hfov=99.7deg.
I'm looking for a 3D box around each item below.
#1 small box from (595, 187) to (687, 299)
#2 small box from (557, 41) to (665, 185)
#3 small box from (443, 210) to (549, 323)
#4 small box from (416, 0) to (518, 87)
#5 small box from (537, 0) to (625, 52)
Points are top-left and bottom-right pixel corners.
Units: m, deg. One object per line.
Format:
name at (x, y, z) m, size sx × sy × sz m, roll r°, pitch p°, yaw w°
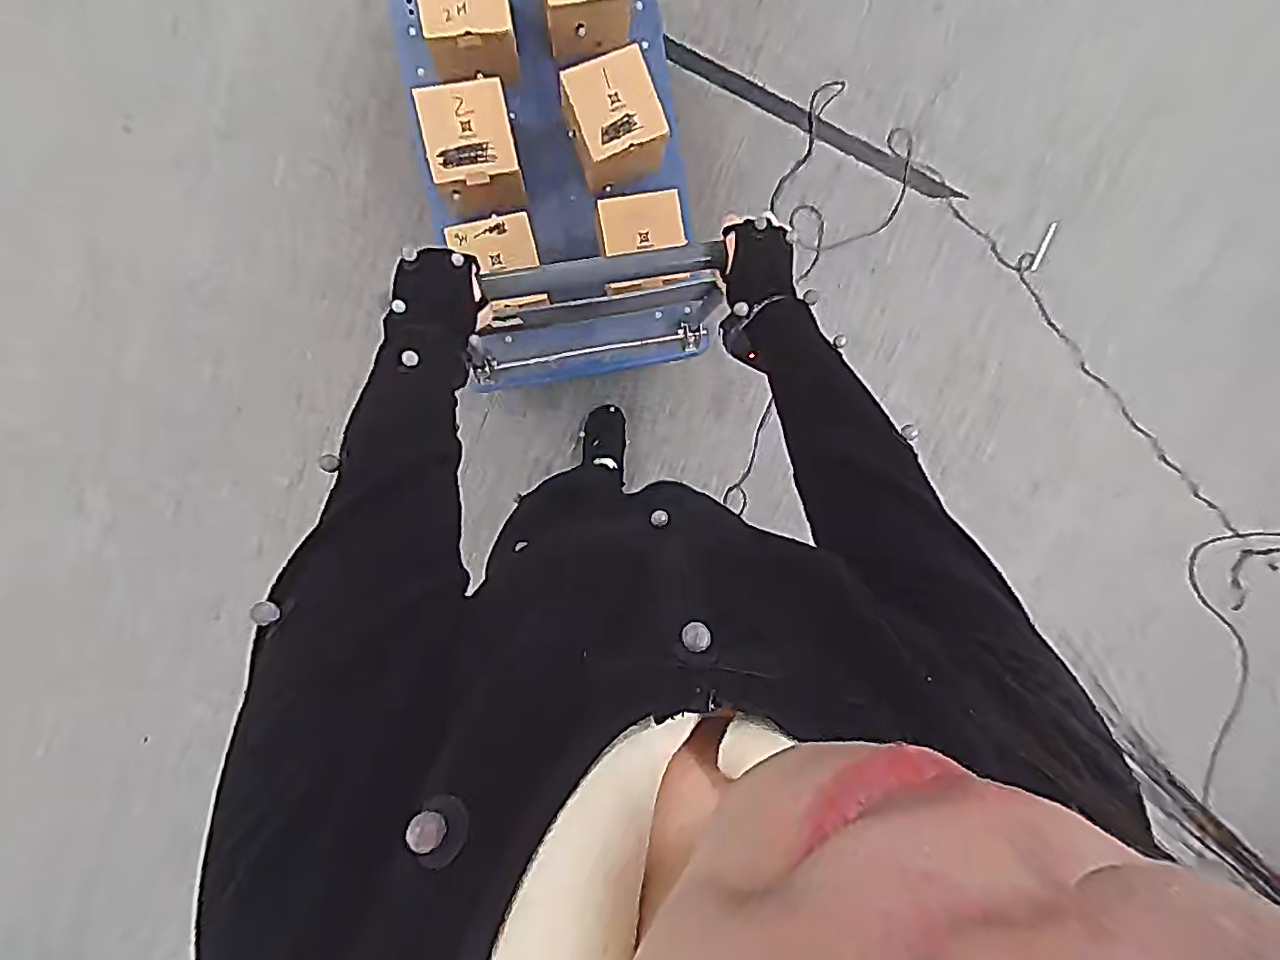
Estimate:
small box at (-0.003, -0.500, 1.167) m, size 0.168 × 0.176 × 0.179 m, roll -10°, pitch 97°, yaw -6°
small box at (-0.062, -0.749, 1.131) m, size 0.168 × 0.176 × 0.179 m, roll -23°, pitch 98°, yaw -3°
small box at (-0.293, -0.438, 1.142) m, size 0.168 × 0.176 × 0.179 m, roll -14°, pitch 98°, yaw -5°
small box at (-0.346, -0.931, 1.077) m, size 0.168 × 0.176 × 0.179 m, roll -9°, pitch 98°, yaw -5°
small box at (-0.126, -1.011, 1.095) m, size 0.168 × 0.176 × 0.179 m, roll -14°, pitch 98°, yaw -4°
